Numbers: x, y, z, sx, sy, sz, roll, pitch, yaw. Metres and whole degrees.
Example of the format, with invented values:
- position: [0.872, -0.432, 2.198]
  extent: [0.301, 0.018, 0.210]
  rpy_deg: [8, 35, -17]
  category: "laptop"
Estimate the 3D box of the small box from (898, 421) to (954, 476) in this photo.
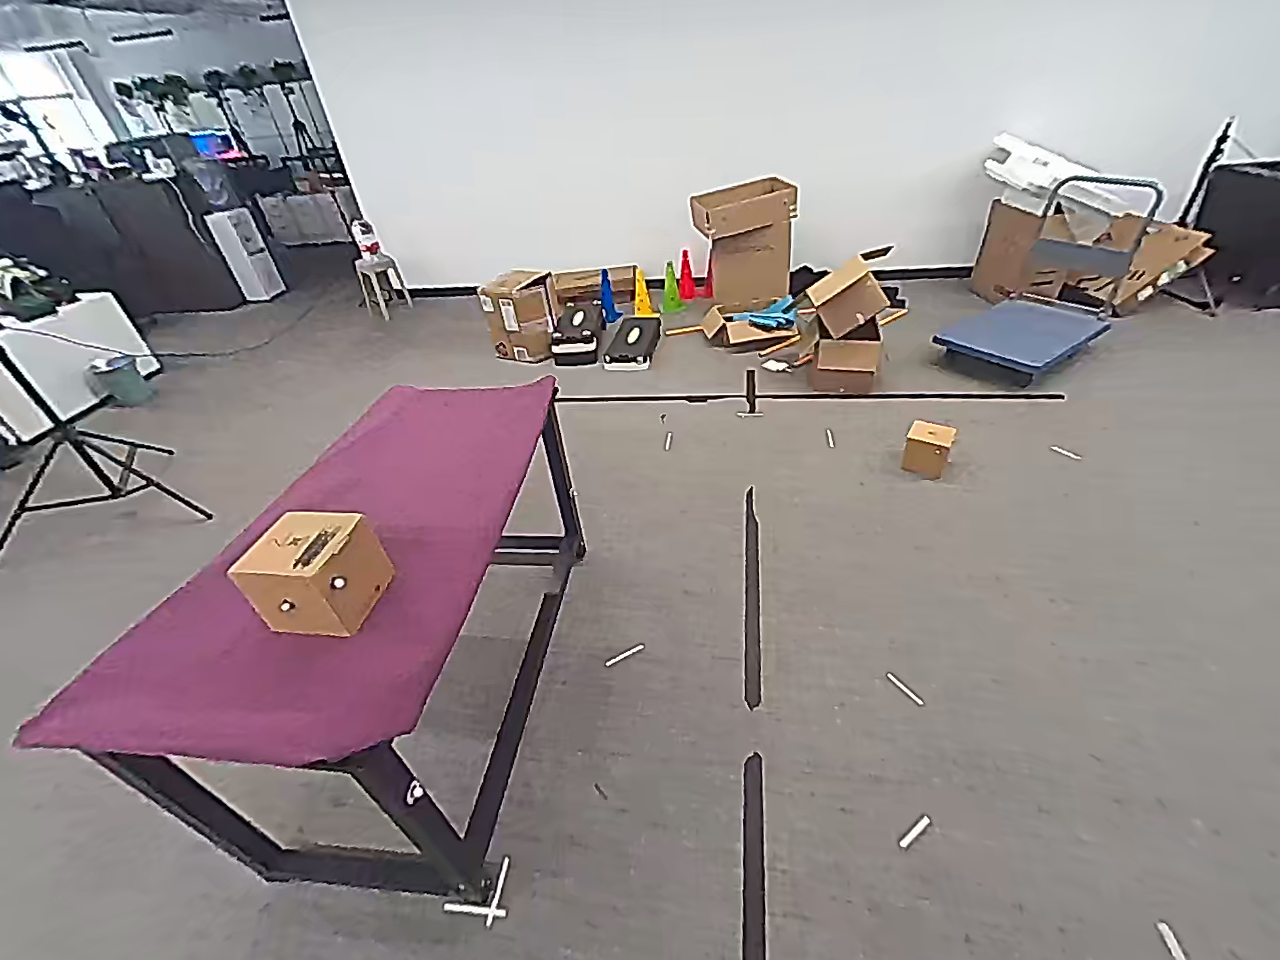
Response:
- position: [1.277, -0.137, 2.420]
  extent: [0.179, 0.176, 0.168]
  rpy_deg: [18, 43, 28]
  category: "small box"
